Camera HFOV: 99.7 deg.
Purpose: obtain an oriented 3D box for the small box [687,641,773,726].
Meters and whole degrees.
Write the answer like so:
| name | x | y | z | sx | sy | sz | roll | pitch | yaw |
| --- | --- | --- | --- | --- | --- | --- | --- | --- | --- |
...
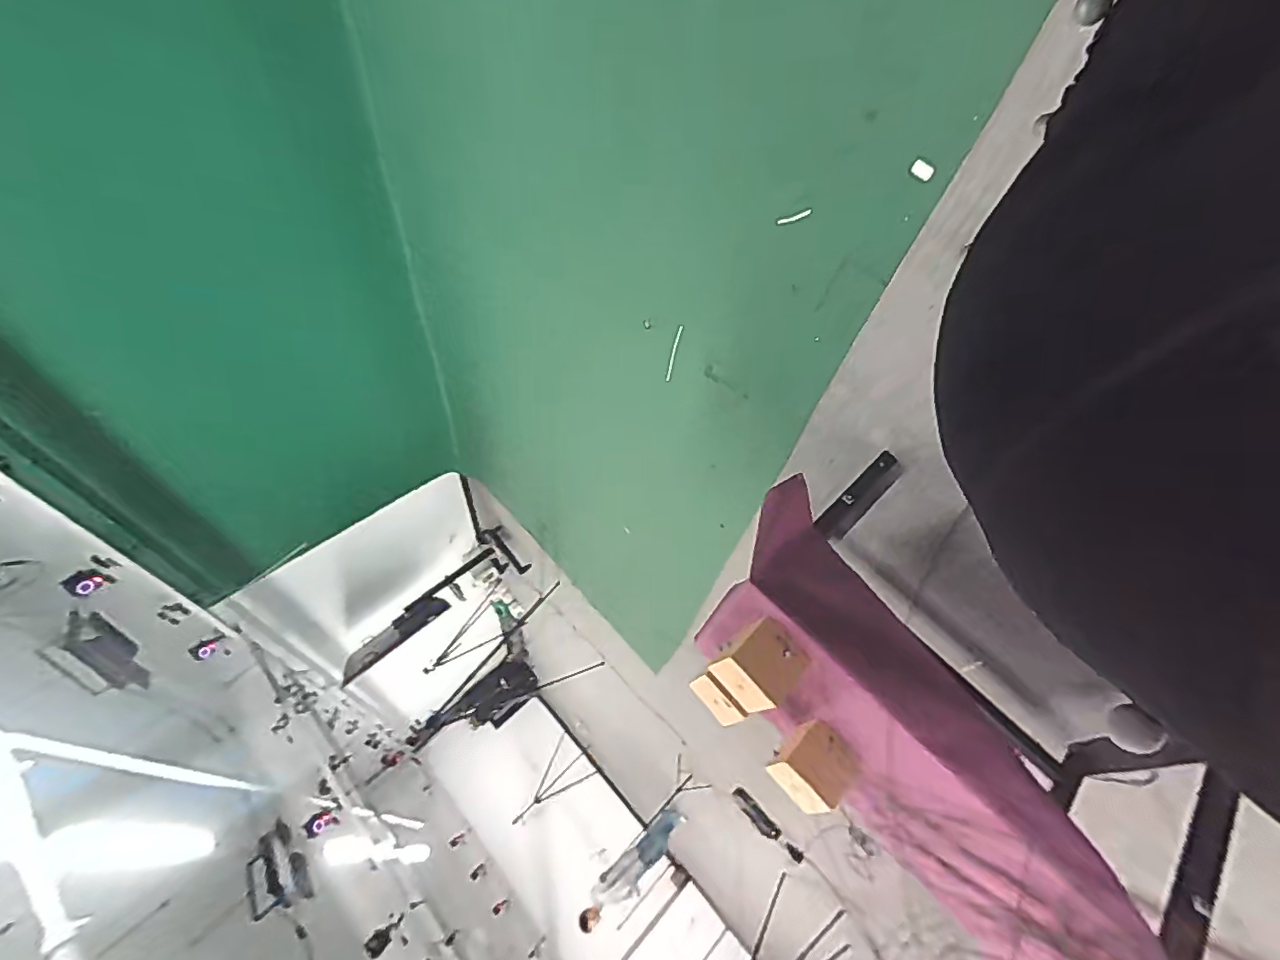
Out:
| name | x | y | z | sx | sy | sz | roll | pitch | yaw |
| --- | --- | --- | --- | --- | --- | --- | --- | --- | --- |
| small box | 0.275 | 0.621 | 1.654 | 0.168 | 0.176 | 0.179 | 46 | 151 | 13 |

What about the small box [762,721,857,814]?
| name | x | y | z | sx | sy | sz | roll | pitch | yaw |
| --- | --- | --- | --- | --- | --- | --- | --- | --- | --- |
| small box | 0.490 | 0.827 | 1.559 | 0.168 | 0.176 | 0.179 | 44 | 150 | 18 |
